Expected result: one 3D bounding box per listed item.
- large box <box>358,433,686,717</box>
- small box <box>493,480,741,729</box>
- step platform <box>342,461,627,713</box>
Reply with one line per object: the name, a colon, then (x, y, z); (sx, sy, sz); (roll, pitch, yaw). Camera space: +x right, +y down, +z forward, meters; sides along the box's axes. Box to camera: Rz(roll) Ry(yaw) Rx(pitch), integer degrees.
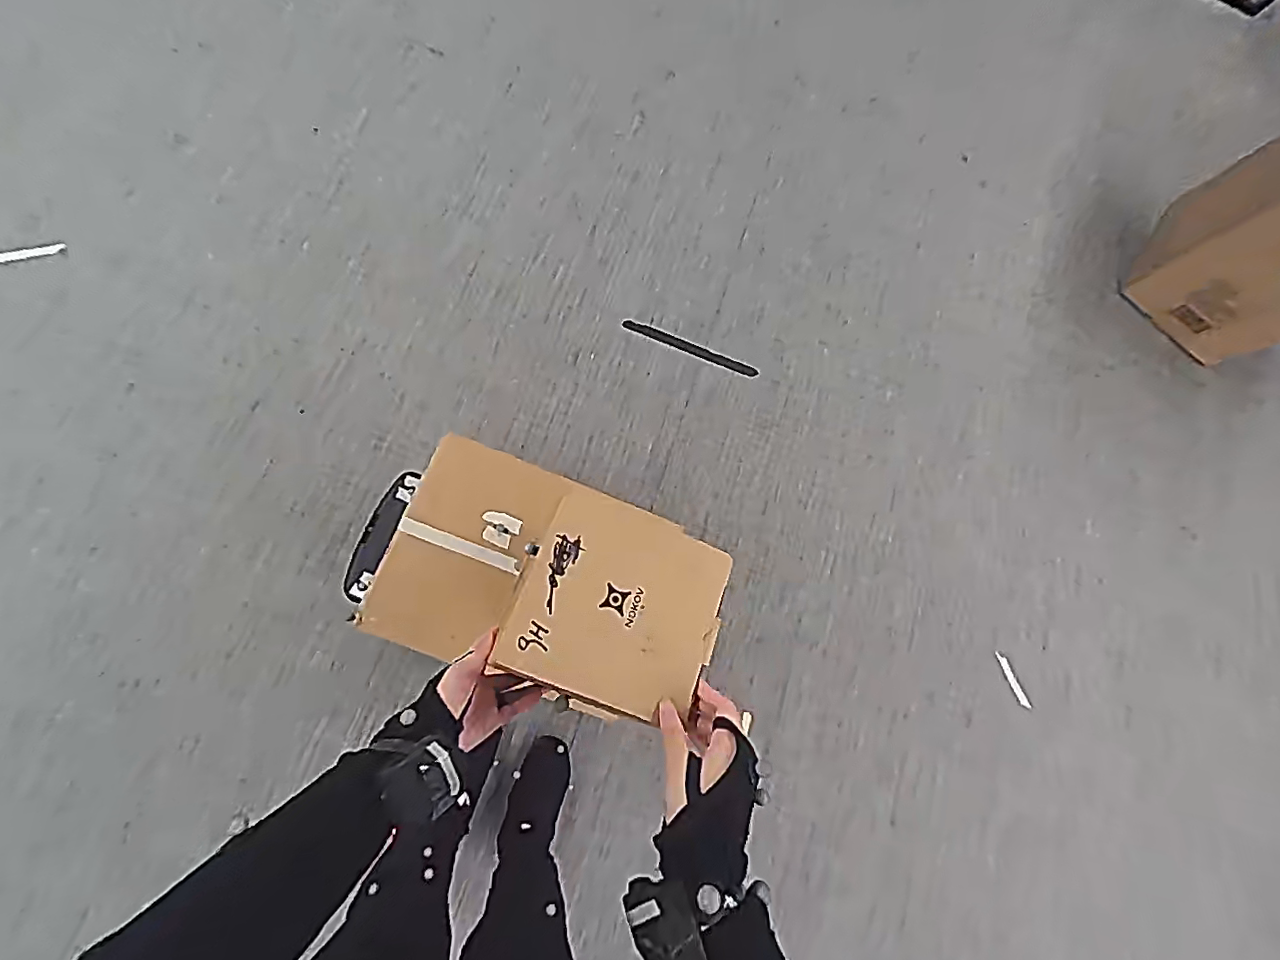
large box: (-0.180, 0.166, 0.945); (0.408, 0.320, 0.320); (22, 74, -4)
small box: (-0.030, 0.127, 0.540); (0.179, 0.176, 0.168); (25, 65, -8)
step platform: (-0.257, 0.228, 1.165); (0.684, 0.204, 0.286); (27, 75, -3)
